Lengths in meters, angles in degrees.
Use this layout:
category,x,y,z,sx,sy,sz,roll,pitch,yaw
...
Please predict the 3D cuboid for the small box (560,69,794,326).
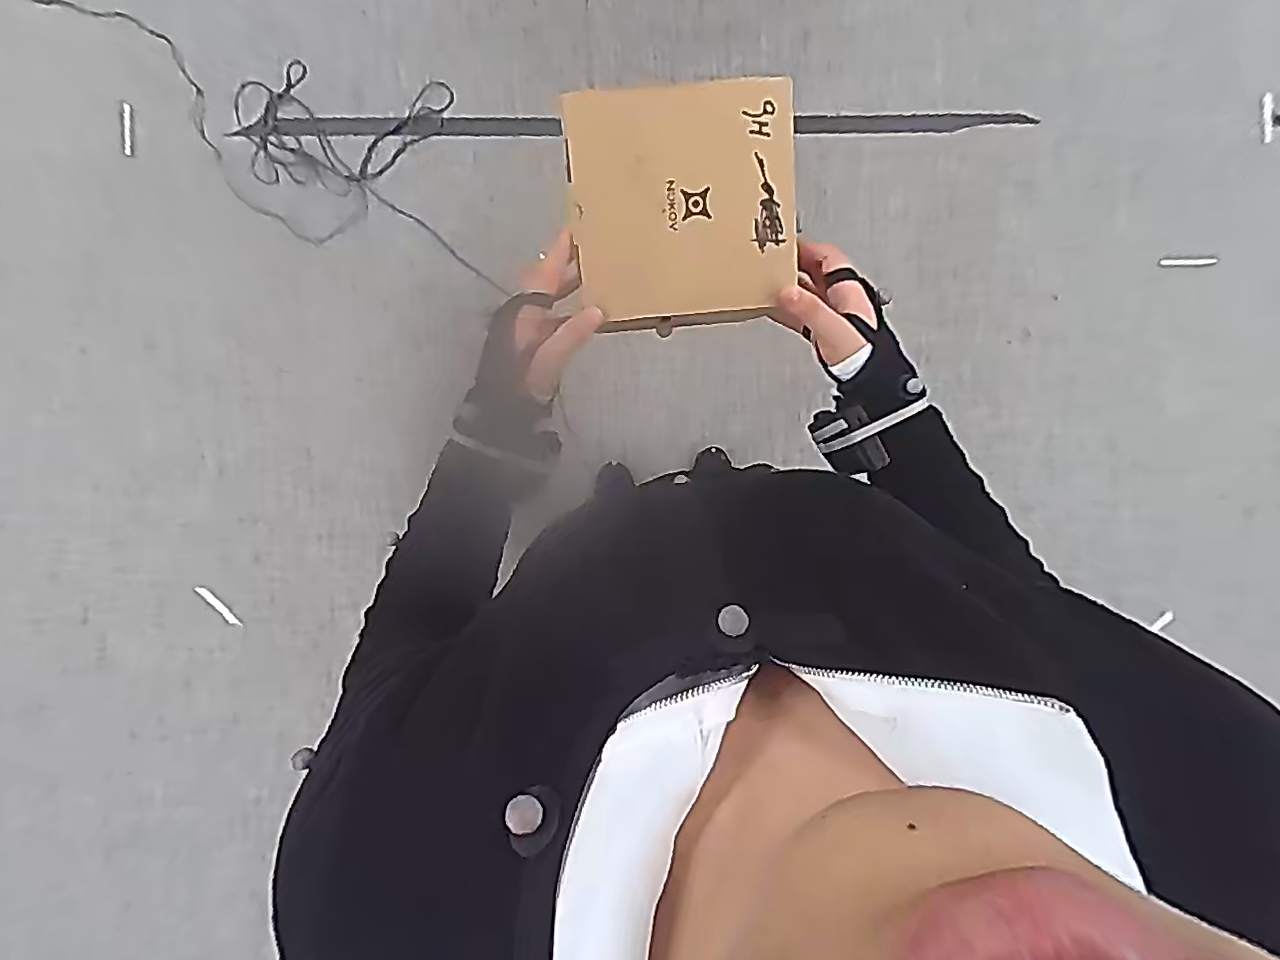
category,x,y,z,sx,sy,sz,roll,pitch,yaw
small box,0.030,-0.238,0.497,0.179,0.176,0.168,-5,102,-2
